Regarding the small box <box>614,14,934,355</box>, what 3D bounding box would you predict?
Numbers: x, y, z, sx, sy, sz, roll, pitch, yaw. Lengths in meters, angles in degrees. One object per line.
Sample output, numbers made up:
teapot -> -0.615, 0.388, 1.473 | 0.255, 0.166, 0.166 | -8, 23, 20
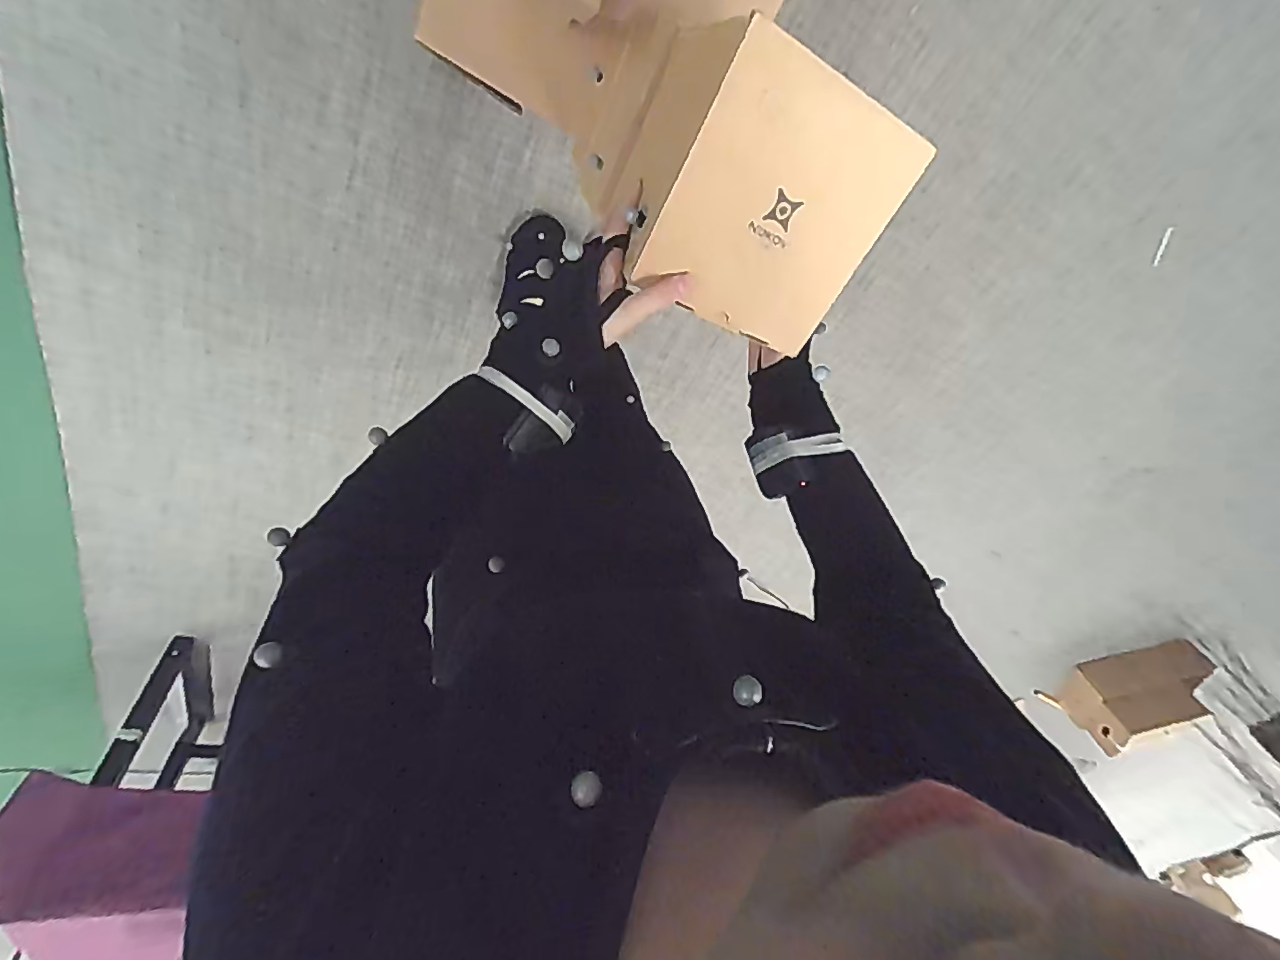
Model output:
small box -> 0.088, -0.241, 0.454 | 0.168, 0.176, 0.179 | 16, 124, -23

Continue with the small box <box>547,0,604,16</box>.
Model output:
small box -> -0.083, -0.511, 0.430 | 0.179, 0.176, 0.168 | 18, 122, -23

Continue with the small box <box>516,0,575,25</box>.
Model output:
small box -> -0.114, -0.616, 0.555 | 0.168, 0.176, 0.179 | 18, 121, -24

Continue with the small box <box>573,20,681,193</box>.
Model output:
small box -> 0.025, -0.460, 0.709 | 0.179, 0.176, 0.168 | 16, 122, -24
